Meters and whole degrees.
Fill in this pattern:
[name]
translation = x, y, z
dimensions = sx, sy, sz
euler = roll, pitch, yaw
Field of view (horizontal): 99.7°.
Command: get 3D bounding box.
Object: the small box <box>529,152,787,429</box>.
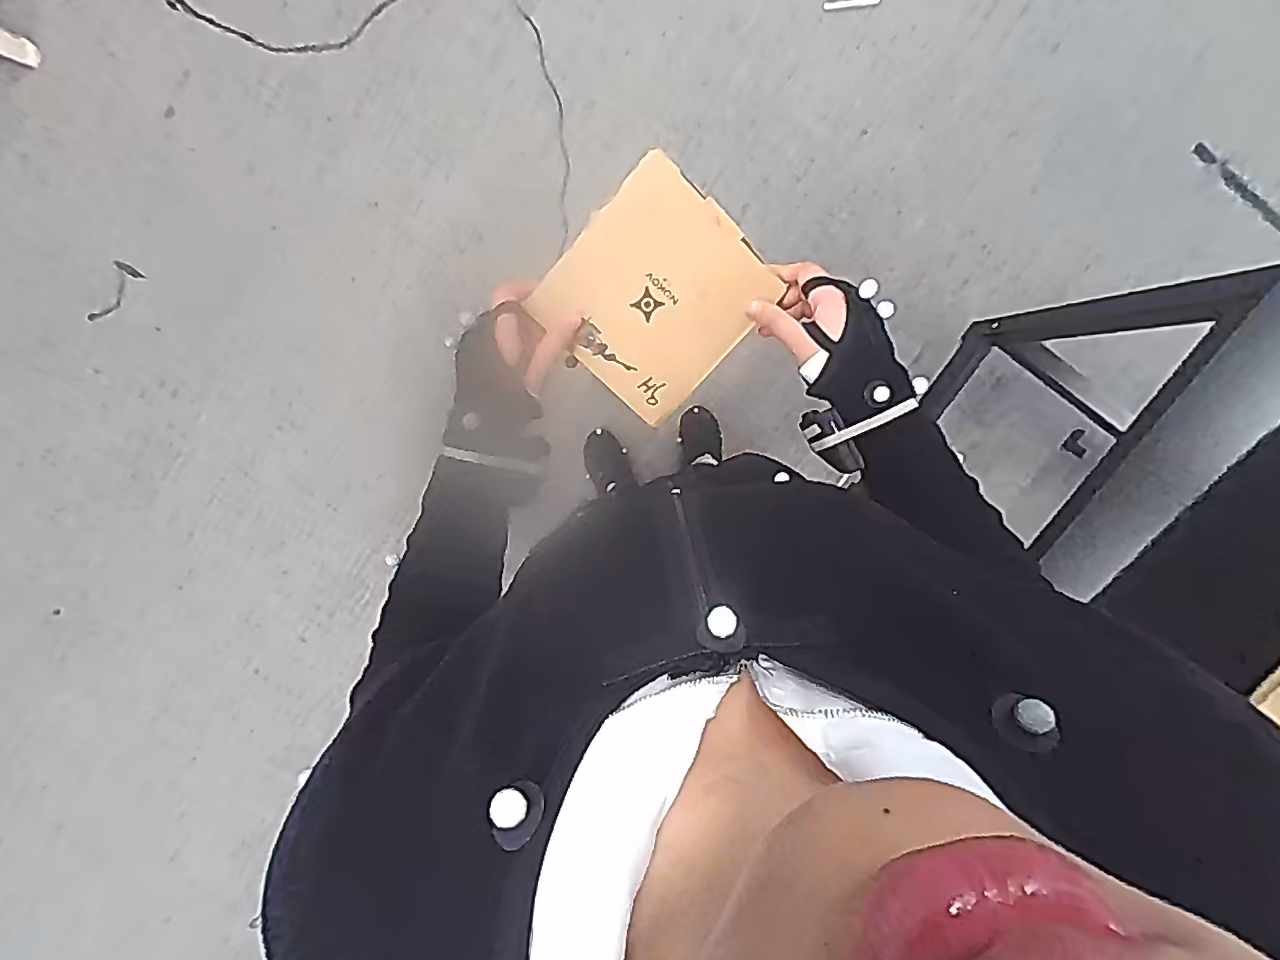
[small box]
translation = 0.013, -0.184, 0.553
dimensions = 0.168, 0.176, 0.179
euler = 41, 103, -12
